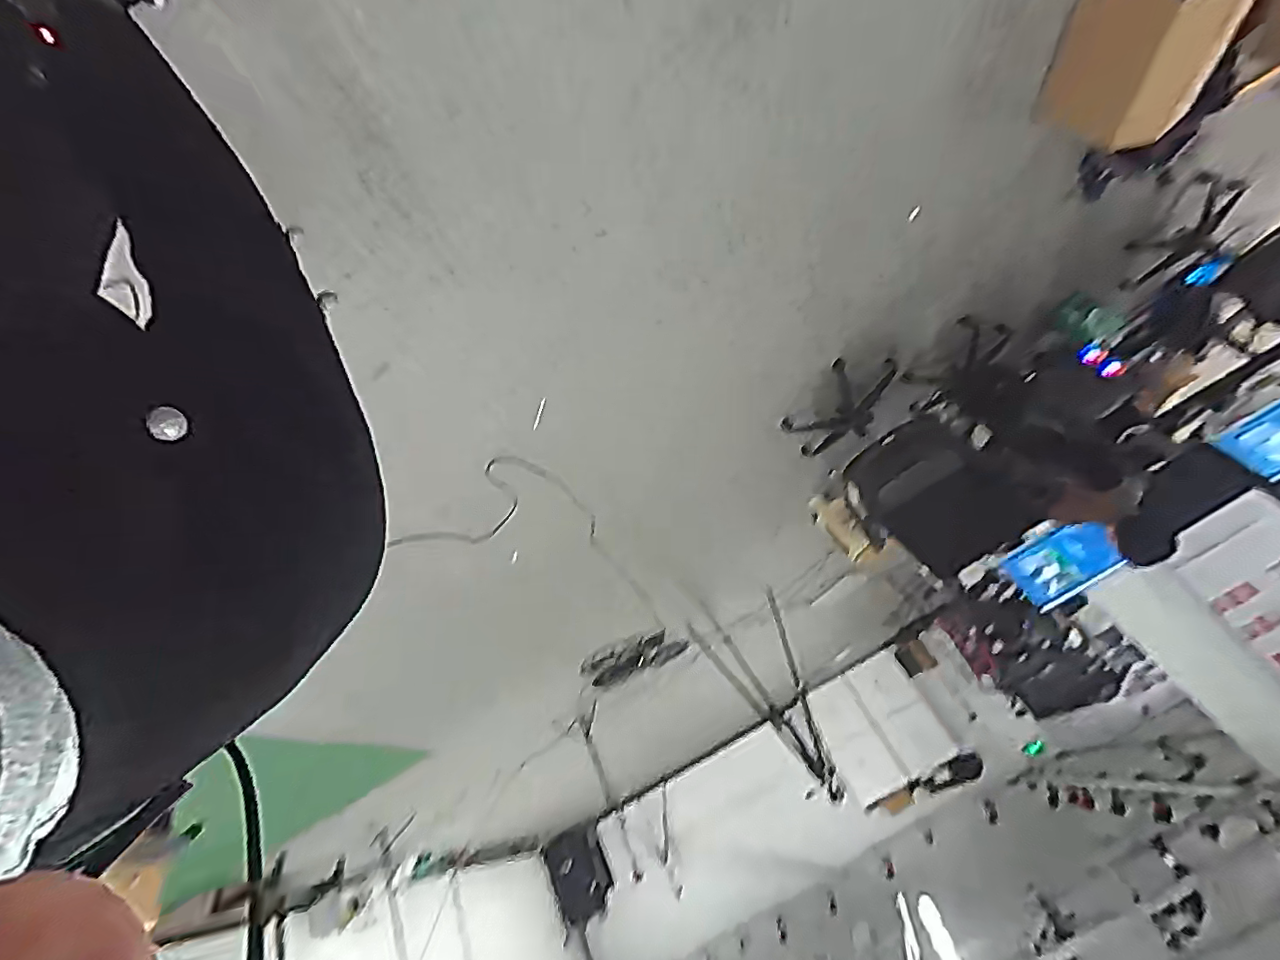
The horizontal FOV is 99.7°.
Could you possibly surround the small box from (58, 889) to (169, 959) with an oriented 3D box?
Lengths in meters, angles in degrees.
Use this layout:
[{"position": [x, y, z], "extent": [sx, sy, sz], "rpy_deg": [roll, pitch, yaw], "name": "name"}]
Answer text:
[{"position": [-1.433, 1.259, 1.475], "extent": [0.179, 0.176, 0.168], "rpy_deg": [-35, 145, 3], "name": "small box"}]
